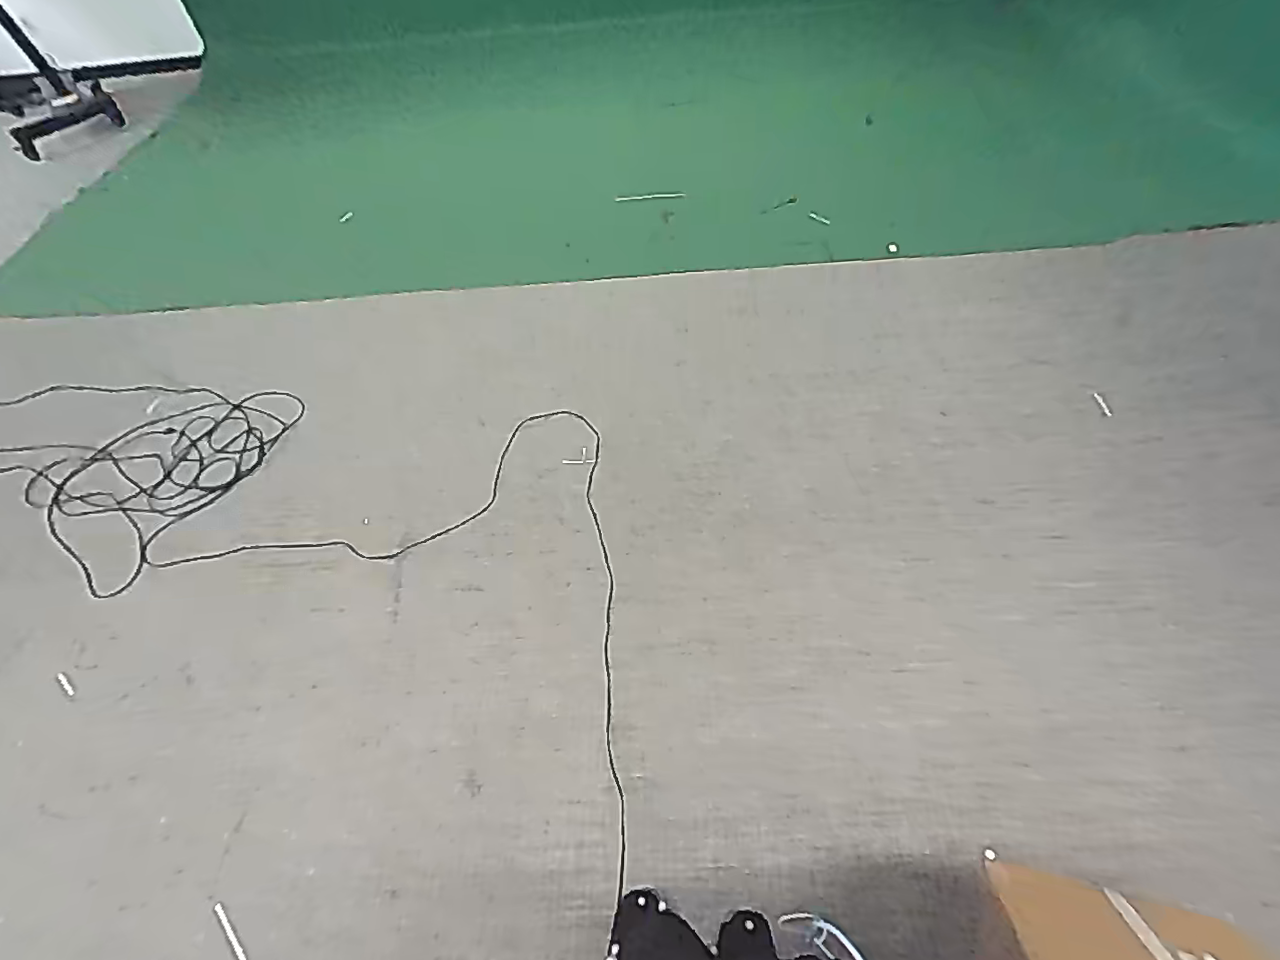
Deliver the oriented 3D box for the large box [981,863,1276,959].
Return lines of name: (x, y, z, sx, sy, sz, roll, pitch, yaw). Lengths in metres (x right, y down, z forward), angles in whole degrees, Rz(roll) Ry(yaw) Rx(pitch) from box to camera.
large box: (0.586, 0.717, 0.573, 0.320, 0.408, 0.320, 5, 85, 20)
